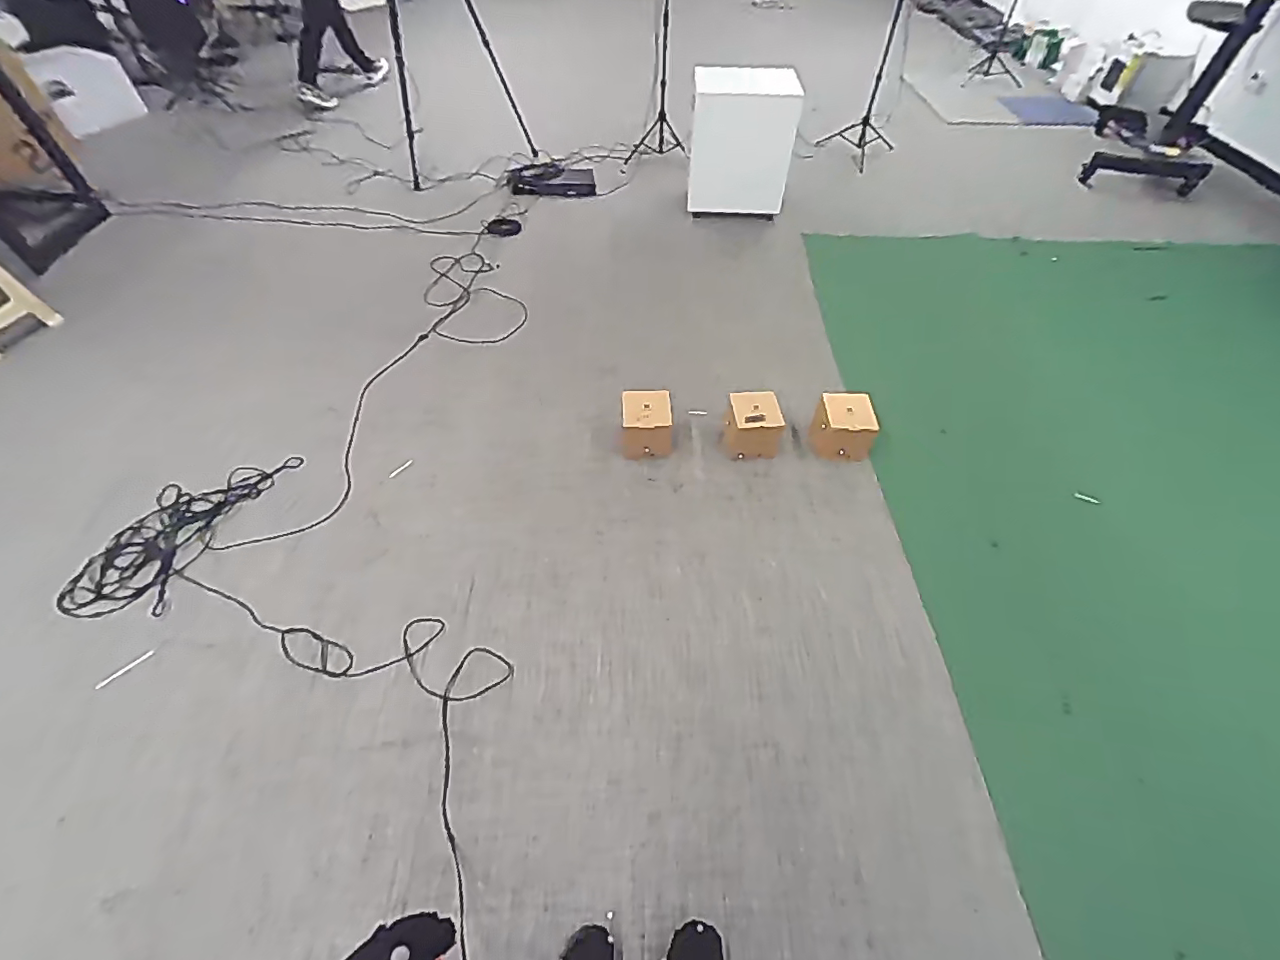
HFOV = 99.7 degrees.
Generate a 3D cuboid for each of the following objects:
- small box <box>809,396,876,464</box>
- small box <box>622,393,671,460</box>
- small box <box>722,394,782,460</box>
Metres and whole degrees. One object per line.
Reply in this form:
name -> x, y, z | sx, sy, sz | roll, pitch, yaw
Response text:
small box -> 0.718, -0.179, 1.941 | 0.168, 0.176, 0.179 | 1, 52, 0
small box -> 0.020, -0.189, 1.925 | 0.168, 0.176, 0.179 | -1, 52, -1
small box -> 0.395, -0.184, 1.934 | 0.168, 0.176, 0.179 | -2, 51, -4
